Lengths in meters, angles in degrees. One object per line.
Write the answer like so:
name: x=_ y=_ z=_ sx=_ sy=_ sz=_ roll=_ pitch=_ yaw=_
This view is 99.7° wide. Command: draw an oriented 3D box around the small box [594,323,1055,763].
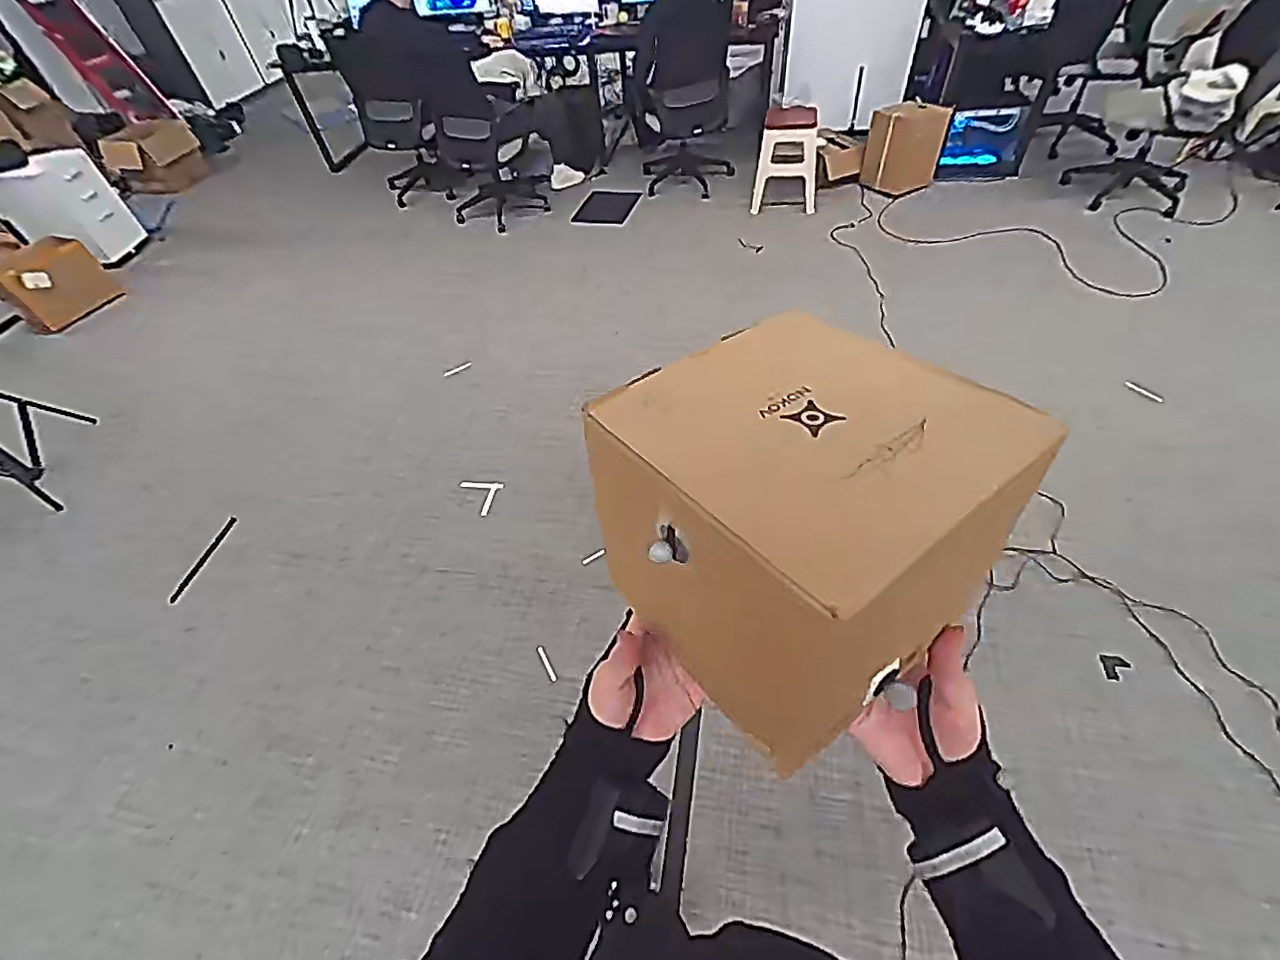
small box: x=0.092 y=0.032 z=0.337 sx=0.168 sy=0.176 sz=0.179 roll=-30 pitch=49 yaw=-23
